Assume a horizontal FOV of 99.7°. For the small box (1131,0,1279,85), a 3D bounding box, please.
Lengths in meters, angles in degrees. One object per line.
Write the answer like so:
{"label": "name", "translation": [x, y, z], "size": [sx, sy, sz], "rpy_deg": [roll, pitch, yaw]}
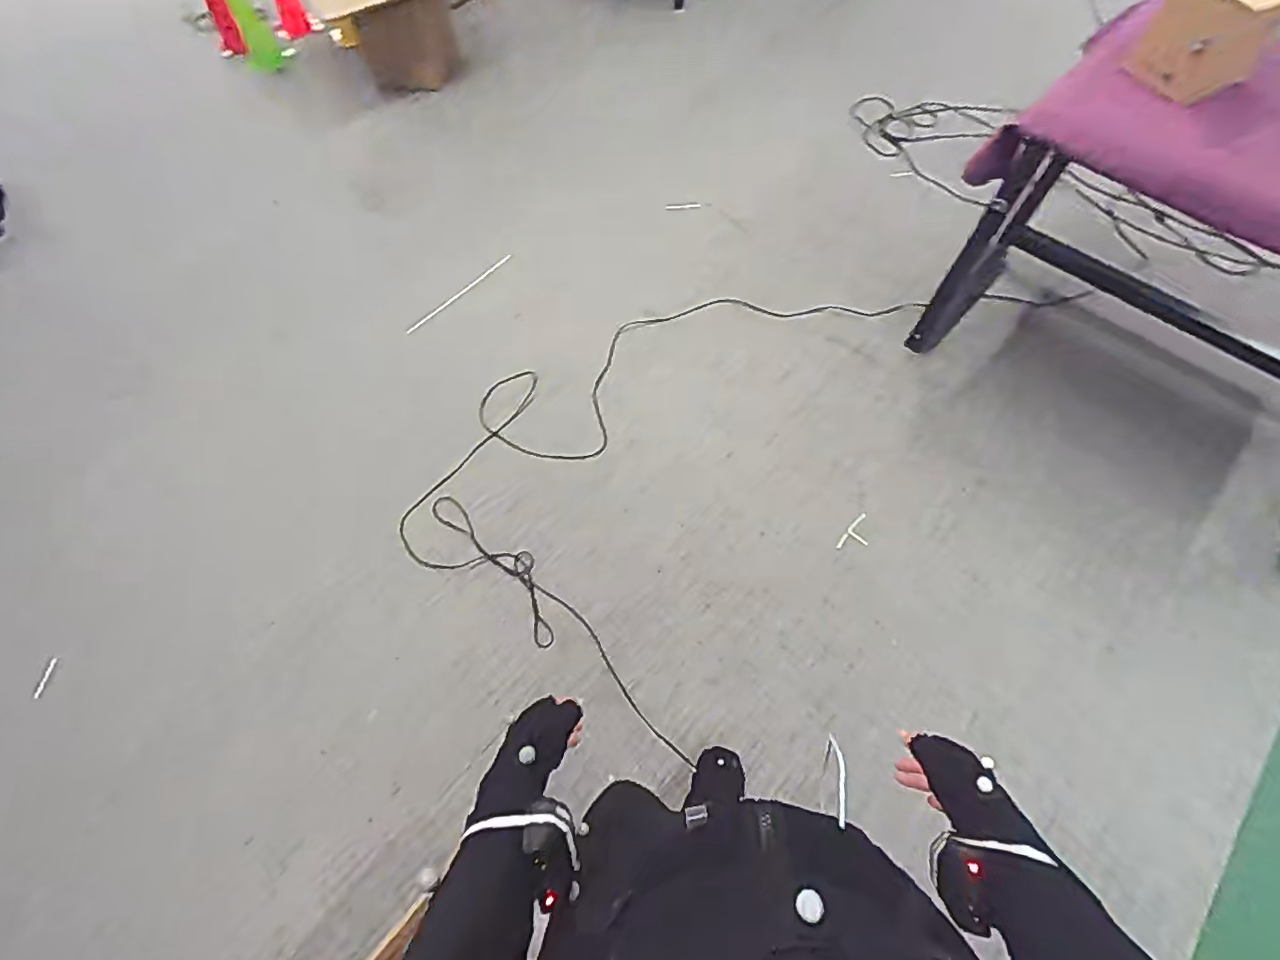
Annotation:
{"label": "small box", "translation": [1.131, -0.918, 1.059], "size": [0.179, 0.176, 0.168], "rpy_deg": [-26, 66, -10]}
